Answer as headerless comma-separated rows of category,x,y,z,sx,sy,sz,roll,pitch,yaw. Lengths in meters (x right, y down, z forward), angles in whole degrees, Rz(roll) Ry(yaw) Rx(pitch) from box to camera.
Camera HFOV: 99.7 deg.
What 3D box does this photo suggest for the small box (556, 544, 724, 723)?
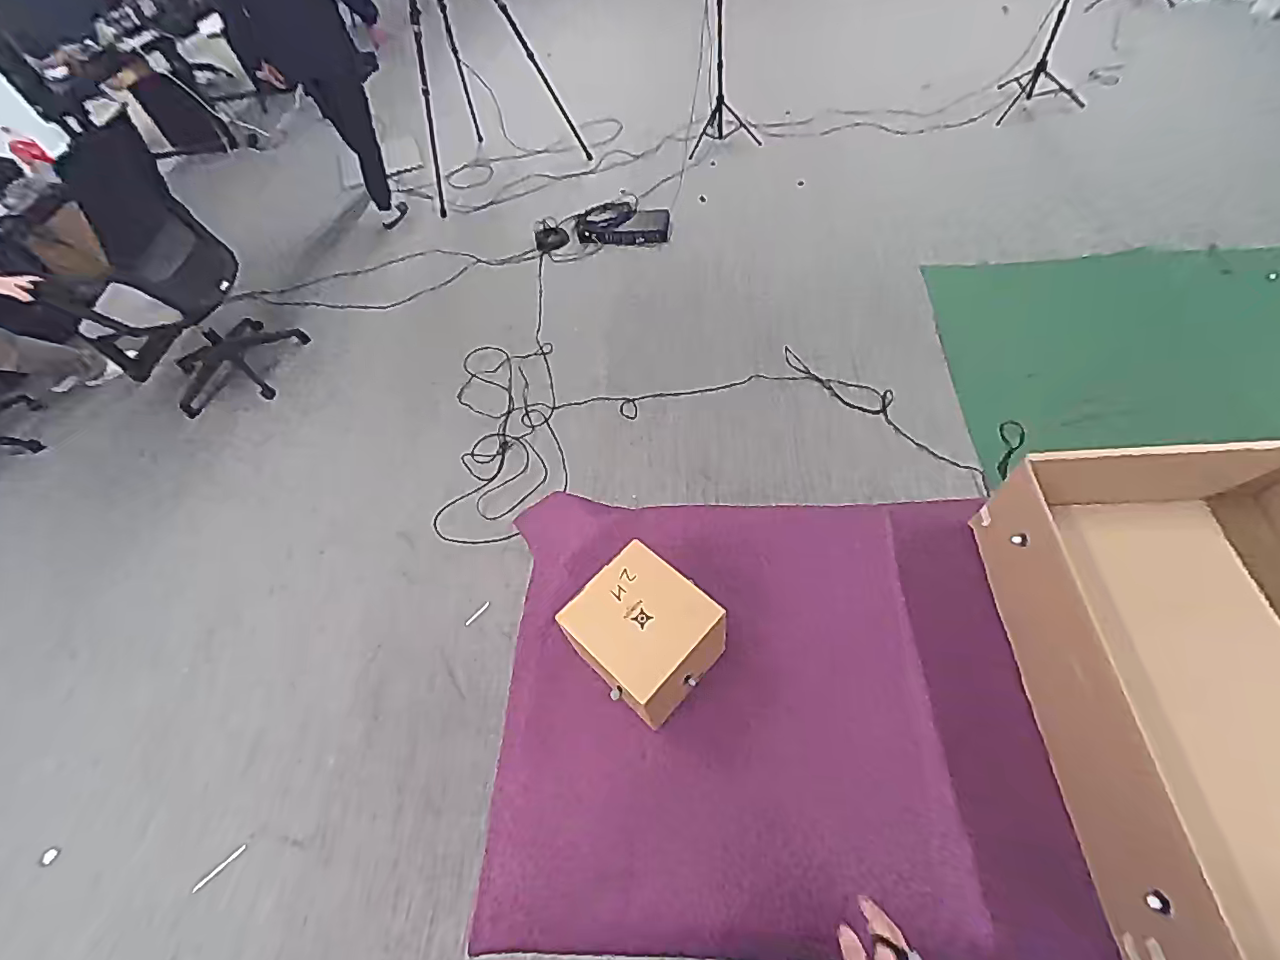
small box,0.007,0.234,0.802,0.179,0.176,0.168,36,66,28
